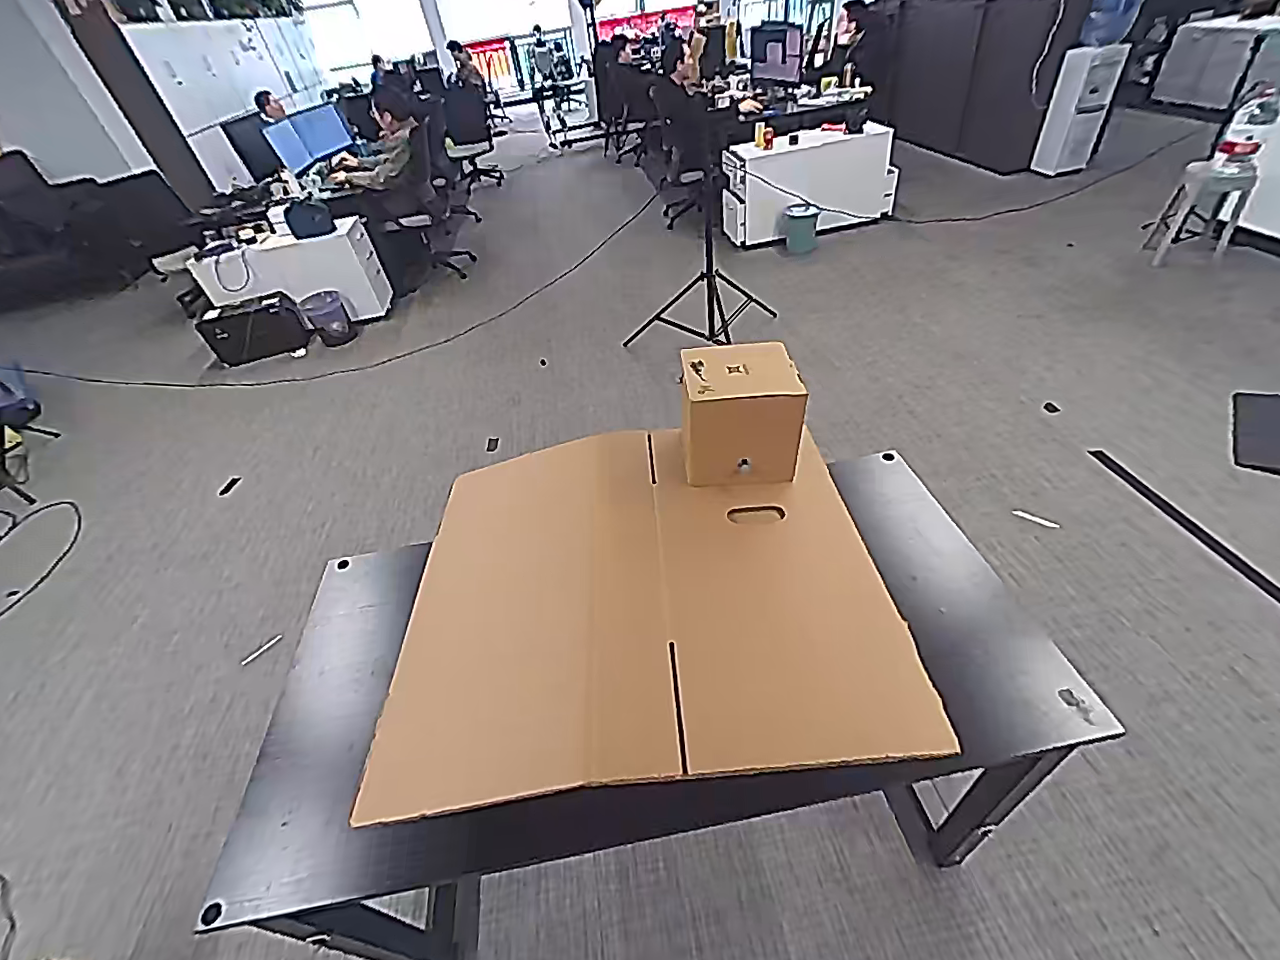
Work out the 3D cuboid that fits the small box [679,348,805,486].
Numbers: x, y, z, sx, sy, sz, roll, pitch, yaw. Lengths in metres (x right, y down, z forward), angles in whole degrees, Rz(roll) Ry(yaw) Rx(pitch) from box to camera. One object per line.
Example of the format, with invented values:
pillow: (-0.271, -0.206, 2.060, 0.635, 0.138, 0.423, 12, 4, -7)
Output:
small box: (0.158, -0.104, 0.906, 0.179, 0.176, 0.168, -3, 40, 0)
